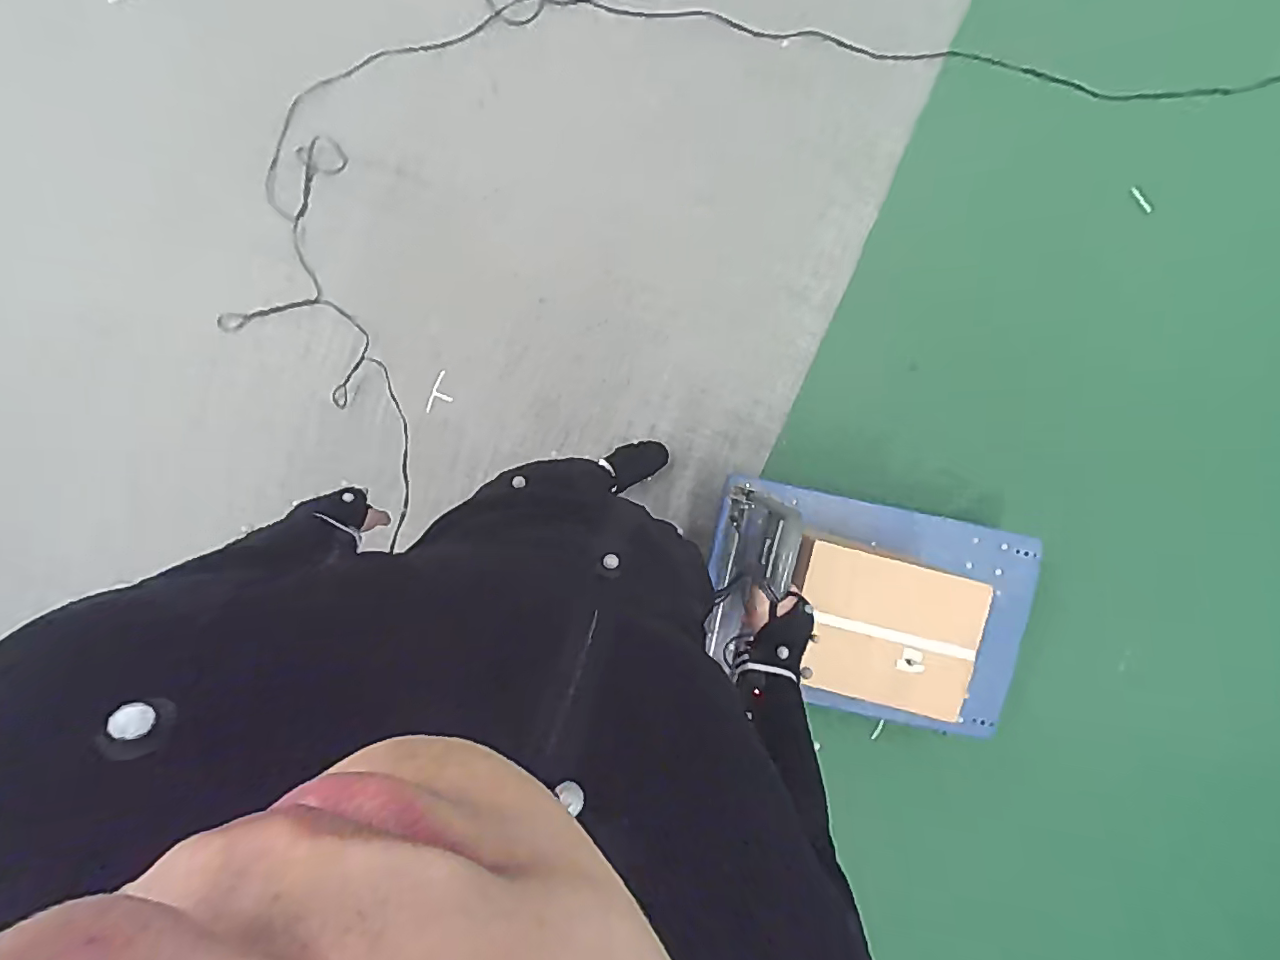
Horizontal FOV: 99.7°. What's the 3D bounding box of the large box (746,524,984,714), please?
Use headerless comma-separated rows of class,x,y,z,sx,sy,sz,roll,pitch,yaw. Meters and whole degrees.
large box,0.514,0.314,1.319,0.408,0.320,0.320,15,93,-2
